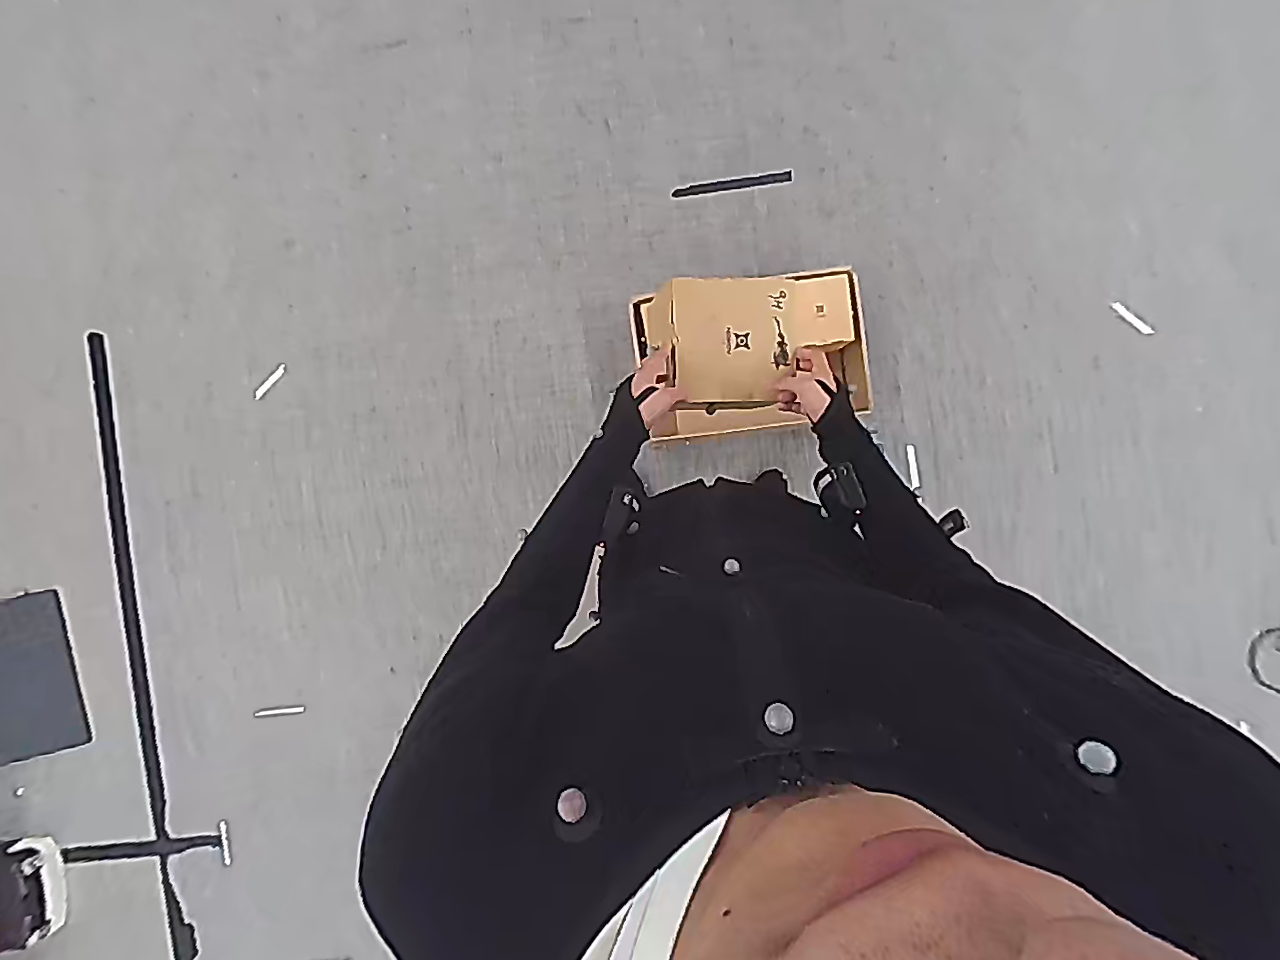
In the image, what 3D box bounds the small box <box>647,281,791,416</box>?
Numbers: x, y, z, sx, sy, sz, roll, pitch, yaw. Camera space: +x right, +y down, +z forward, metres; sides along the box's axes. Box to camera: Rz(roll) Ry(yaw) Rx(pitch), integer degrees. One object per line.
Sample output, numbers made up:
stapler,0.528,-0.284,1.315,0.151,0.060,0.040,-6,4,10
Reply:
small box,0.106,-0.183,0.795,0.179,0.176,0.168,-3,93,-9
